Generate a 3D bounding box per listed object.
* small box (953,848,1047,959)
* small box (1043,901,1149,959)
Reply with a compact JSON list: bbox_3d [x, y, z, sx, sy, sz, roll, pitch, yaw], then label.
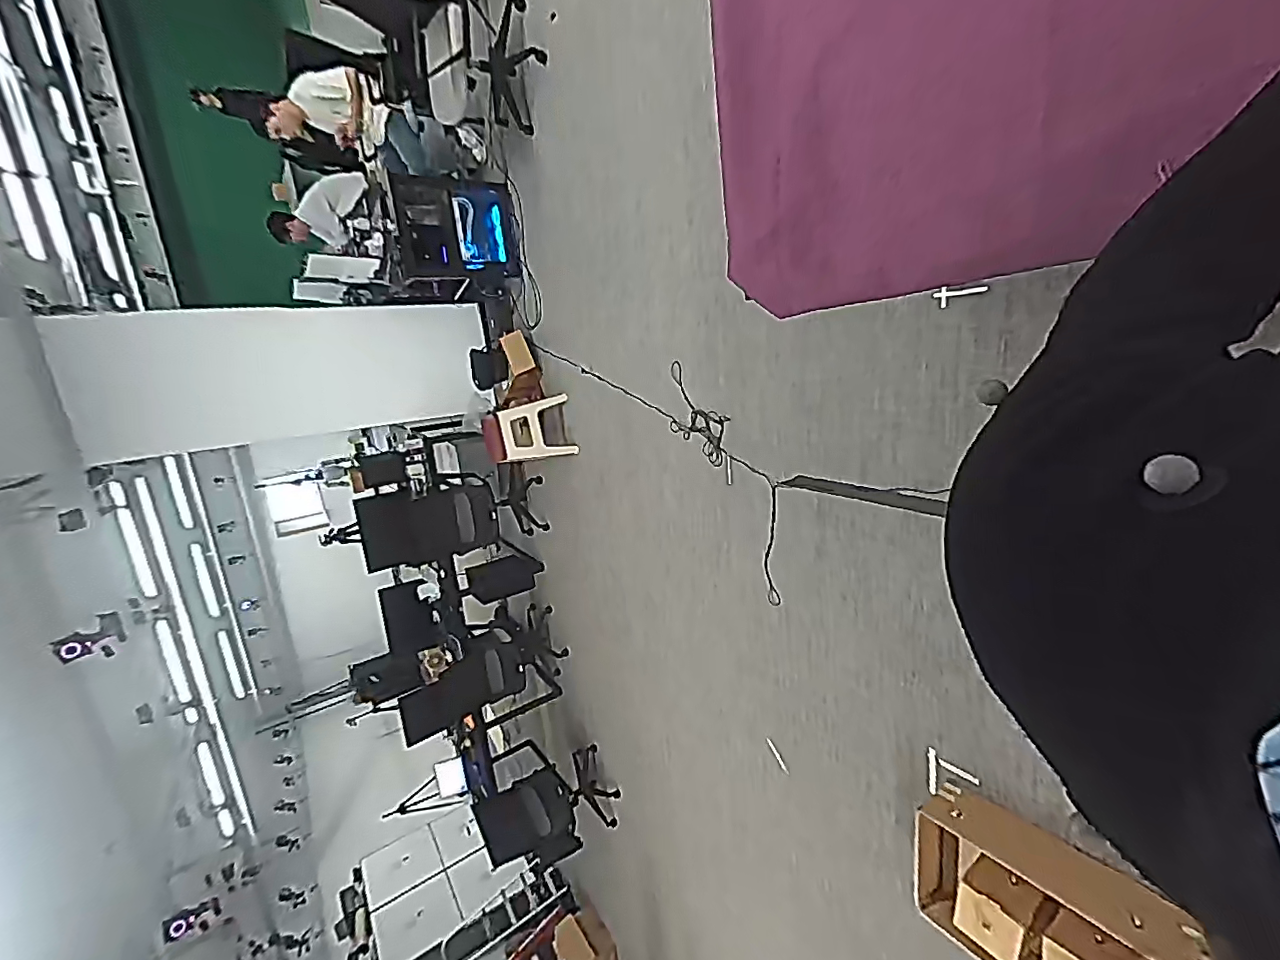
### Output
[{"bbox_3d":[1.033,1.221,1.551,0.168,0.176,0.179,20,118,52],"label":"small box"},{"bbox_3d":[1.150,1.231,1.367,0.168,0.176,0.179,11,111,57],"label":"small box"}]
